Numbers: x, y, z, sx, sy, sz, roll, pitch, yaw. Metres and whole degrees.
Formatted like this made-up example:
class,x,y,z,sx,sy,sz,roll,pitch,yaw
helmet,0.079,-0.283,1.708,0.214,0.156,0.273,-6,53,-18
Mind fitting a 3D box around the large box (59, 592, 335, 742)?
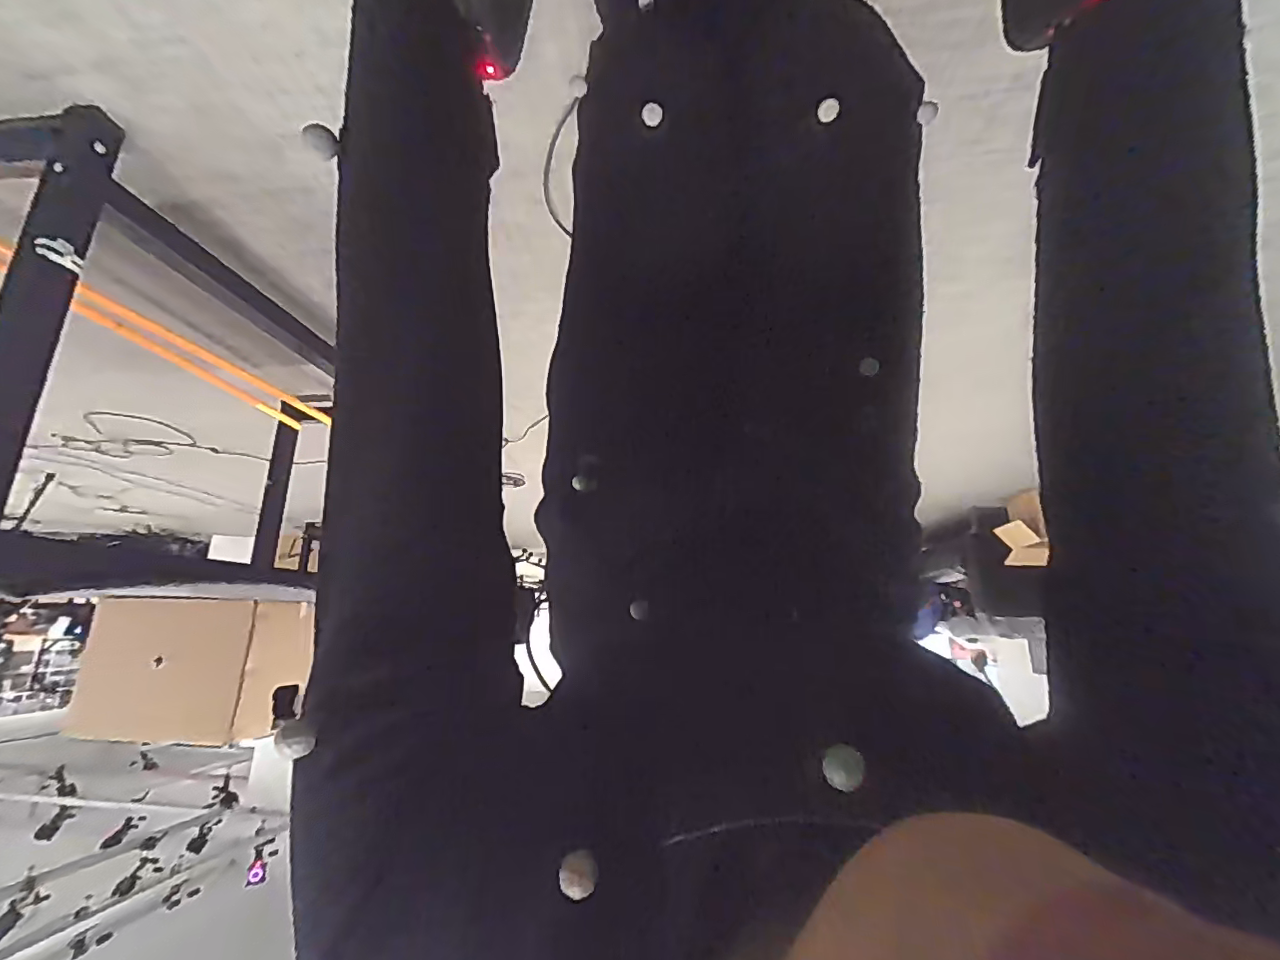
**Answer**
class,x,y,z,sx,sy,sz,roll,pitch,yaw
large box,-1.050,0.444,1.329,0.408,0.320,0.320,-2,165,7
